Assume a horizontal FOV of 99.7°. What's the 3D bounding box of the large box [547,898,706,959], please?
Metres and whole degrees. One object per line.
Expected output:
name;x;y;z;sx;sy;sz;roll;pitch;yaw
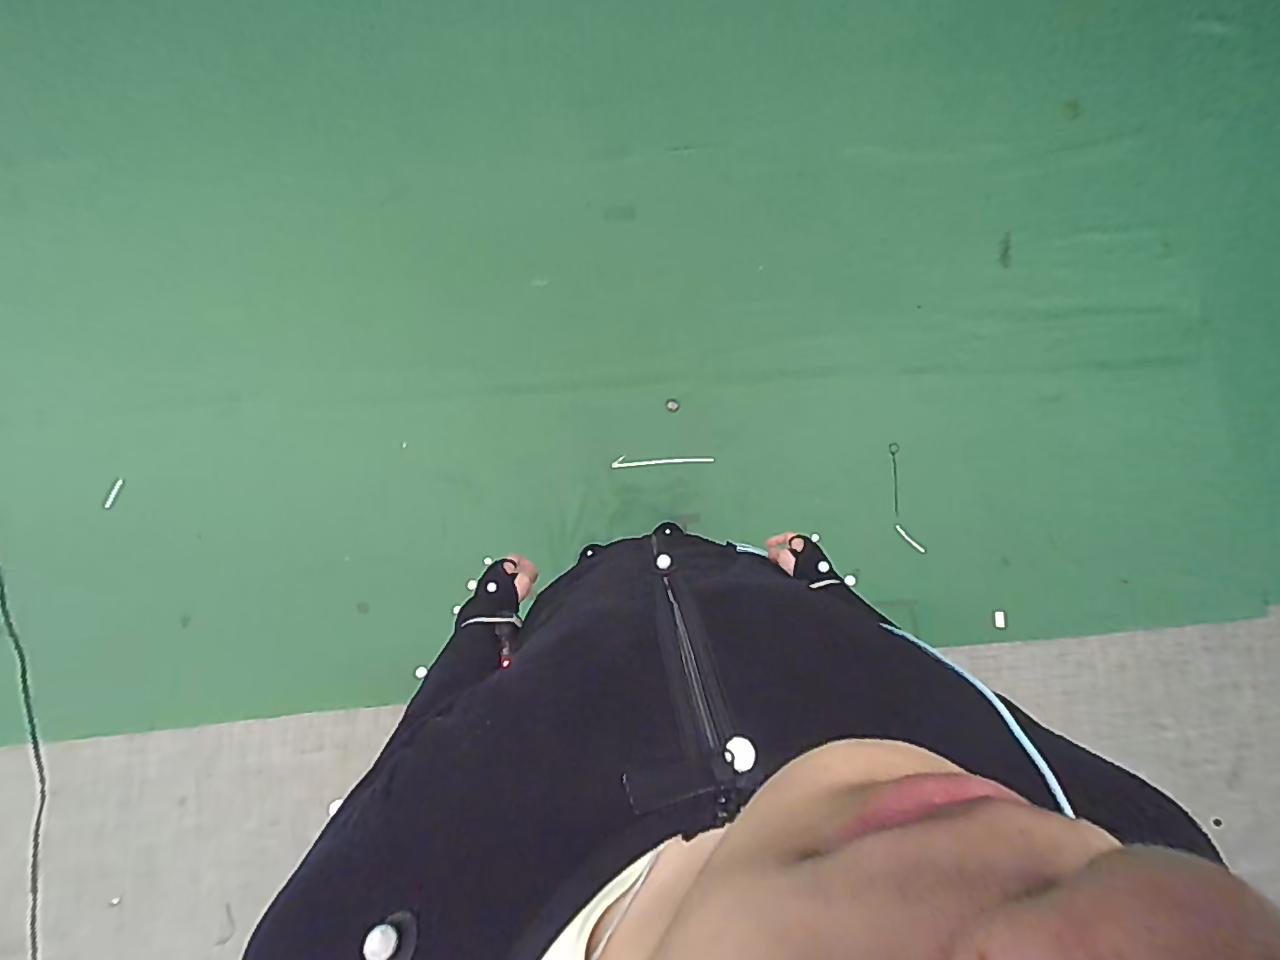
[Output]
large box;-0.024;1.354;1.377;0.408;0.320;0.320;-6;84;-5
